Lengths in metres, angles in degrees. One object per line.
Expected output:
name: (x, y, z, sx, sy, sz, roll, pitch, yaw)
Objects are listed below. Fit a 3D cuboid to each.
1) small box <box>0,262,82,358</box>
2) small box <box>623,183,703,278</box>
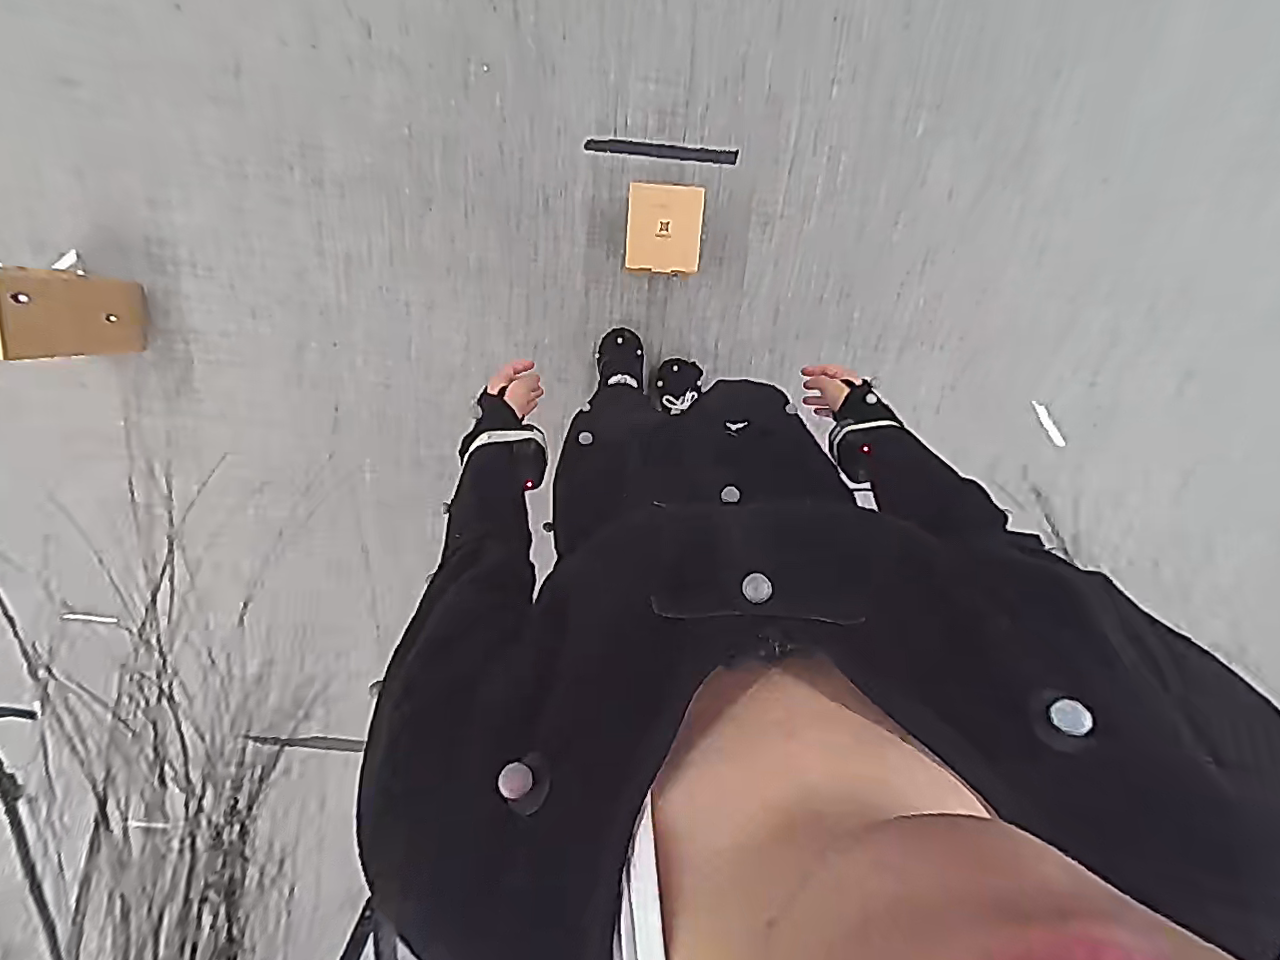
small box: (-1.355, -0.367, 1.148, 0.168, 0.176, 0.179, 10, 107, -2)
small box: (0.049, -0.576, 1.268, 0.168, 0.176, 0.179, 3, 106, -2)
